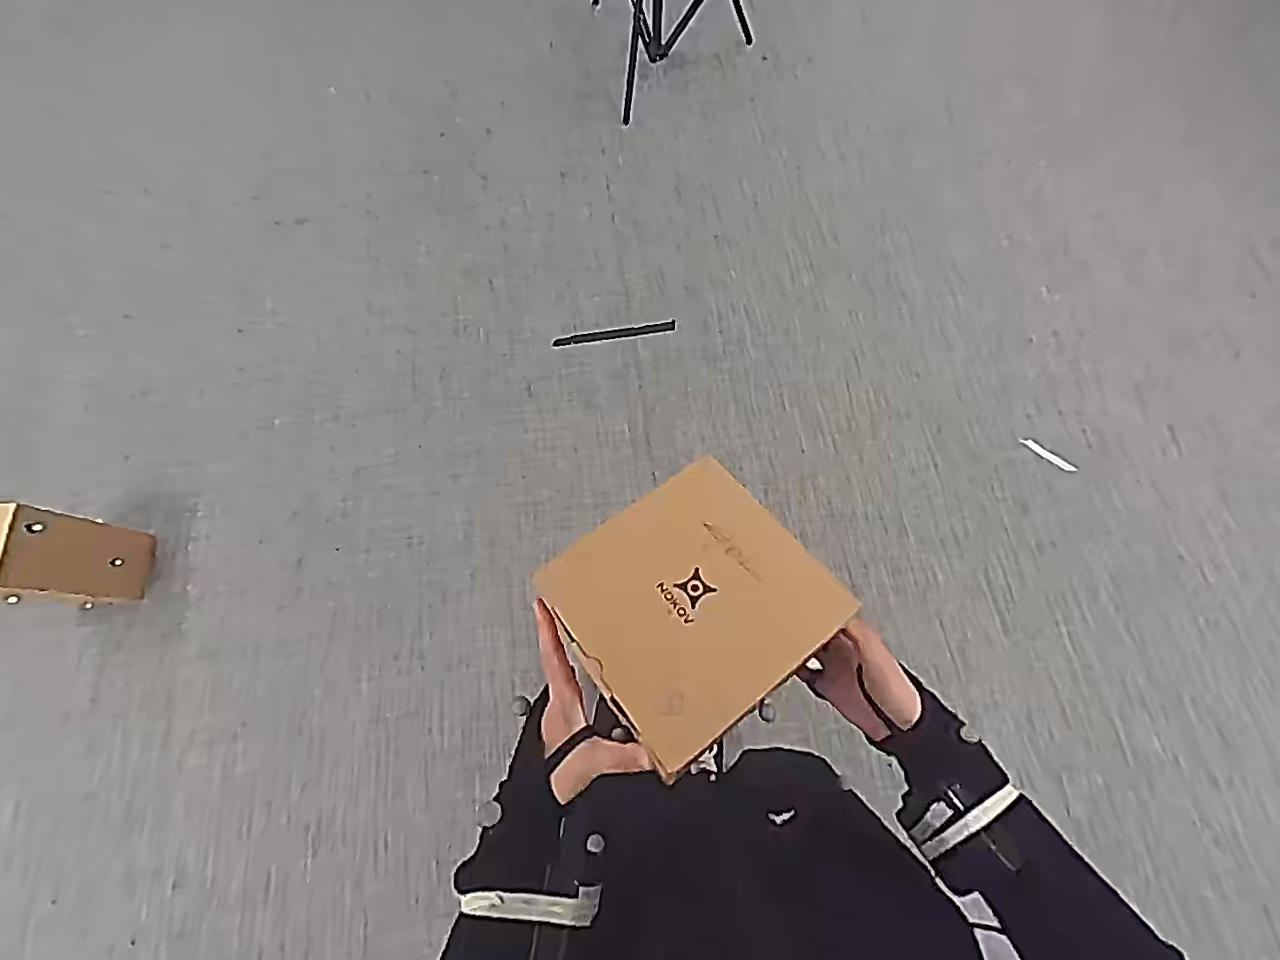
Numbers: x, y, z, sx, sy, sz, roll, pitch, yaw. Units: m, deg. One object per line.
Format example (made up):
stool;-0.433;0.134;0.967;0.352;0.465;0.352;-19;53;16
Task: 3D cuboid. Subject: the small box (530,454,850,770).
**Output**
small box;0.036;0.118;0.457;0.179;0.176;0.168;-34;65;-17

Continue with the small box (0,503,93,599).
small box;-1.352;0.158;1.168;0.168;0.176;0.179;-4;73;0
